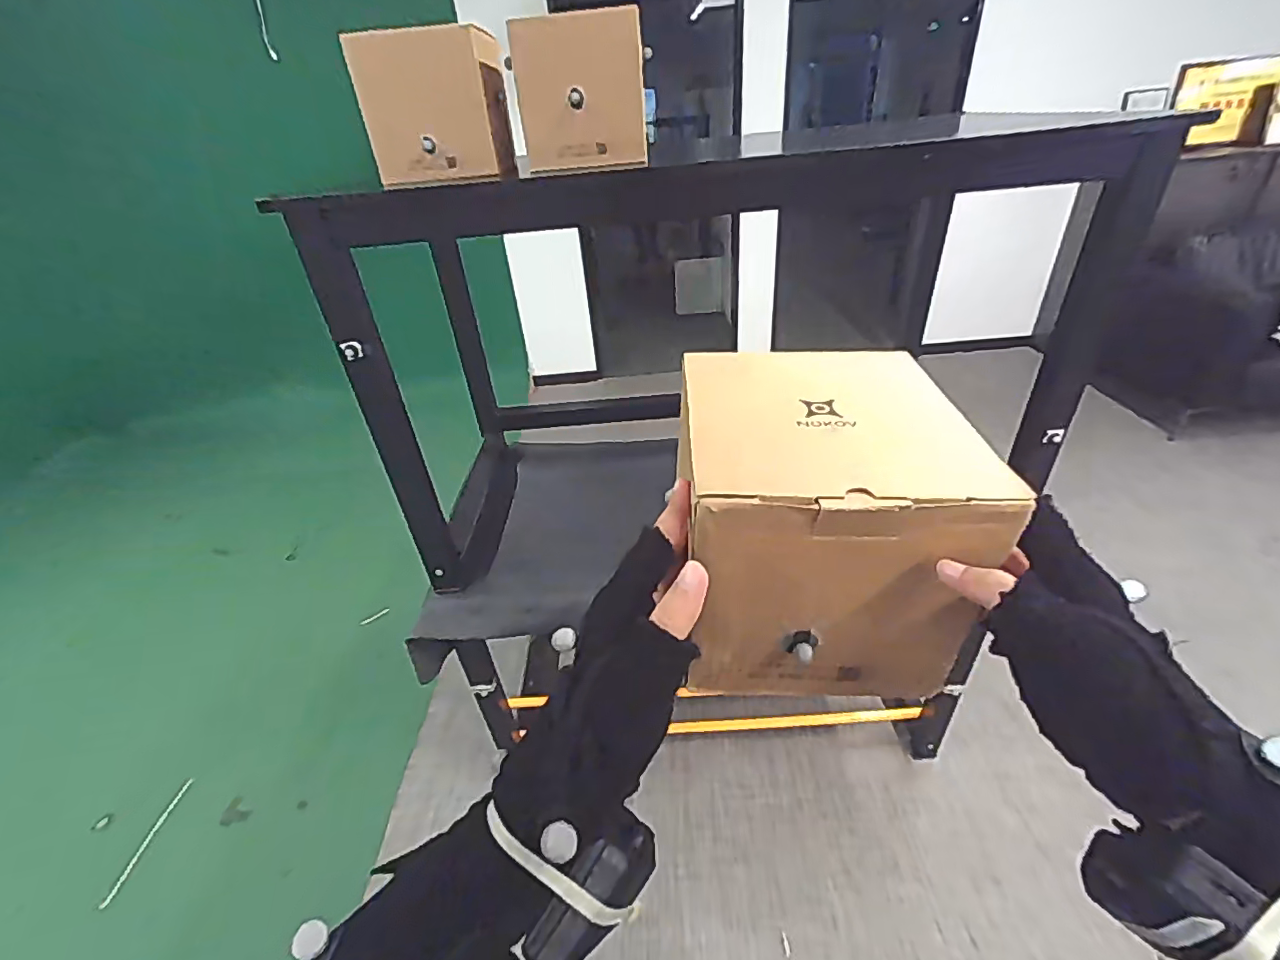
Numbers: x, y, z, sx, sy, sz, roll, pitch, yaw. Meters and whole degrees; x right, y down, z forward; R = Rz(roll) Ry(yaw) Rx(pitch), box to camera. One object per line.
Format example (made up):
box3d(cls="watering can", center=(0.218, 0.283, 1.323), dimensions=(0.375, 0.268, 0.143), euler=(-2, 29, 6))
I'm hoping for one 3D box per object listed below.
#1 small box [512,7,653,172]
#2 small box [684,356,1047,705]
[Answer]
box3d(cls="small box", center=(-0.069, -0.542, 0.769), dimensions=(0.168, 0.176, 0.179), euler=(-3, 33, 2))
box3d(cls="small box", center=(0.118, 0.027, 0.376), dimensions=(0.168, 0.176, 0.179), euler=(0, 37, 2))
